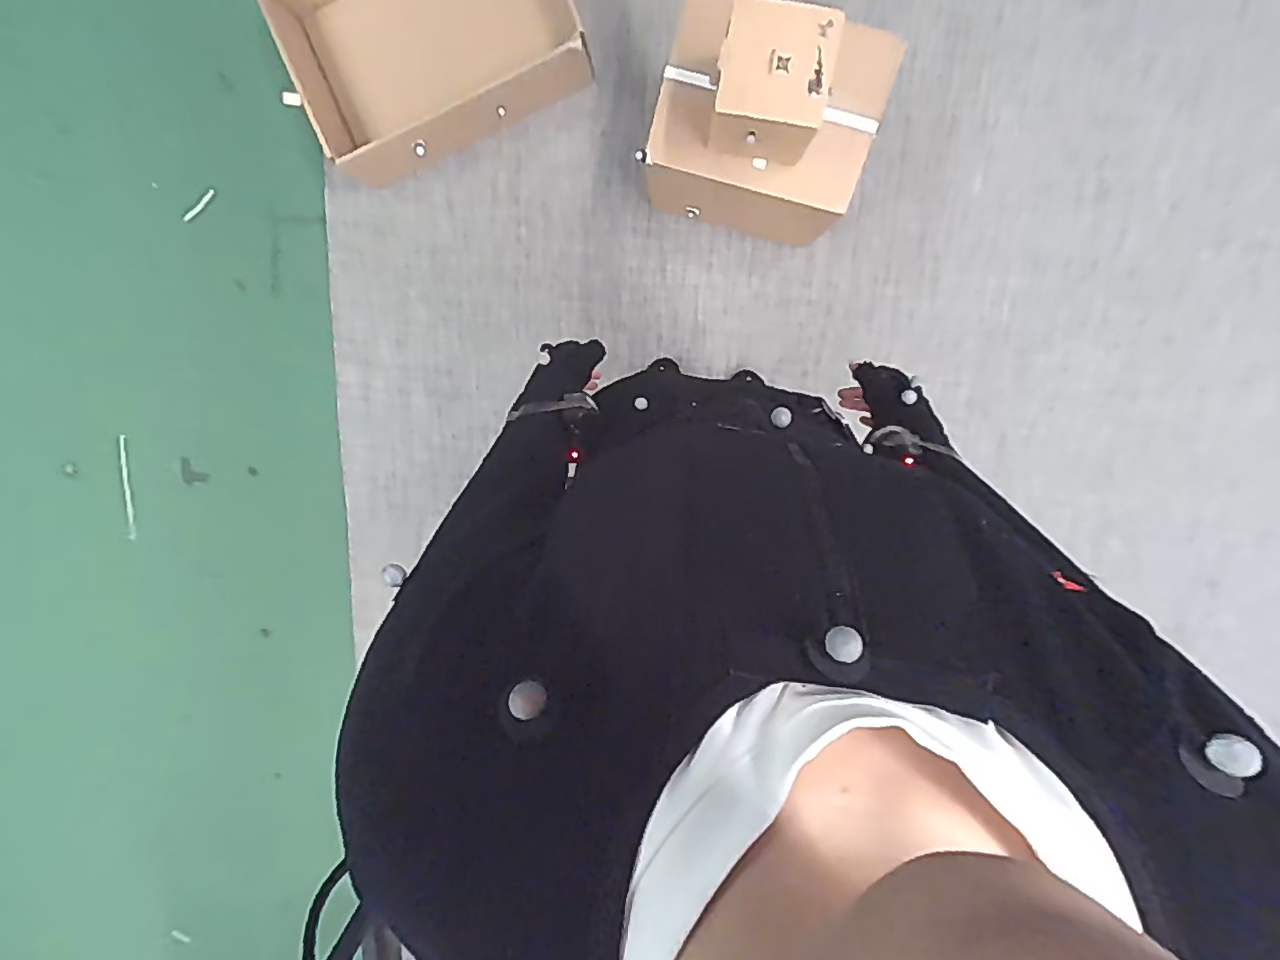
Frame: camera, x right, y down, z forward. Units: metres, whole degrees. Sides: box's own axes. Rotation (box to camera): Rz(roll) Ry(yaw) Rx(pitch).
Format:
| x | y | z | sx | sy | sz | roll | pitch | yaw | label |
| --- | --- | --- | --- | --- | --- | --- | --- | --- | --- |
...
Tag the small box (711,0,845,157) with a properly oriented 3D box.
| x | y | z | sx | sy | sz | roll | pitch | yaw | label |
| --- | --- | --- | --- | --- | --- | --- | --- | --- | --- |
| 0.220 | -0.674 | 0.917 | 0.179 | 0.176 | 0.168 | 11 | 103 | 3 | small box |
